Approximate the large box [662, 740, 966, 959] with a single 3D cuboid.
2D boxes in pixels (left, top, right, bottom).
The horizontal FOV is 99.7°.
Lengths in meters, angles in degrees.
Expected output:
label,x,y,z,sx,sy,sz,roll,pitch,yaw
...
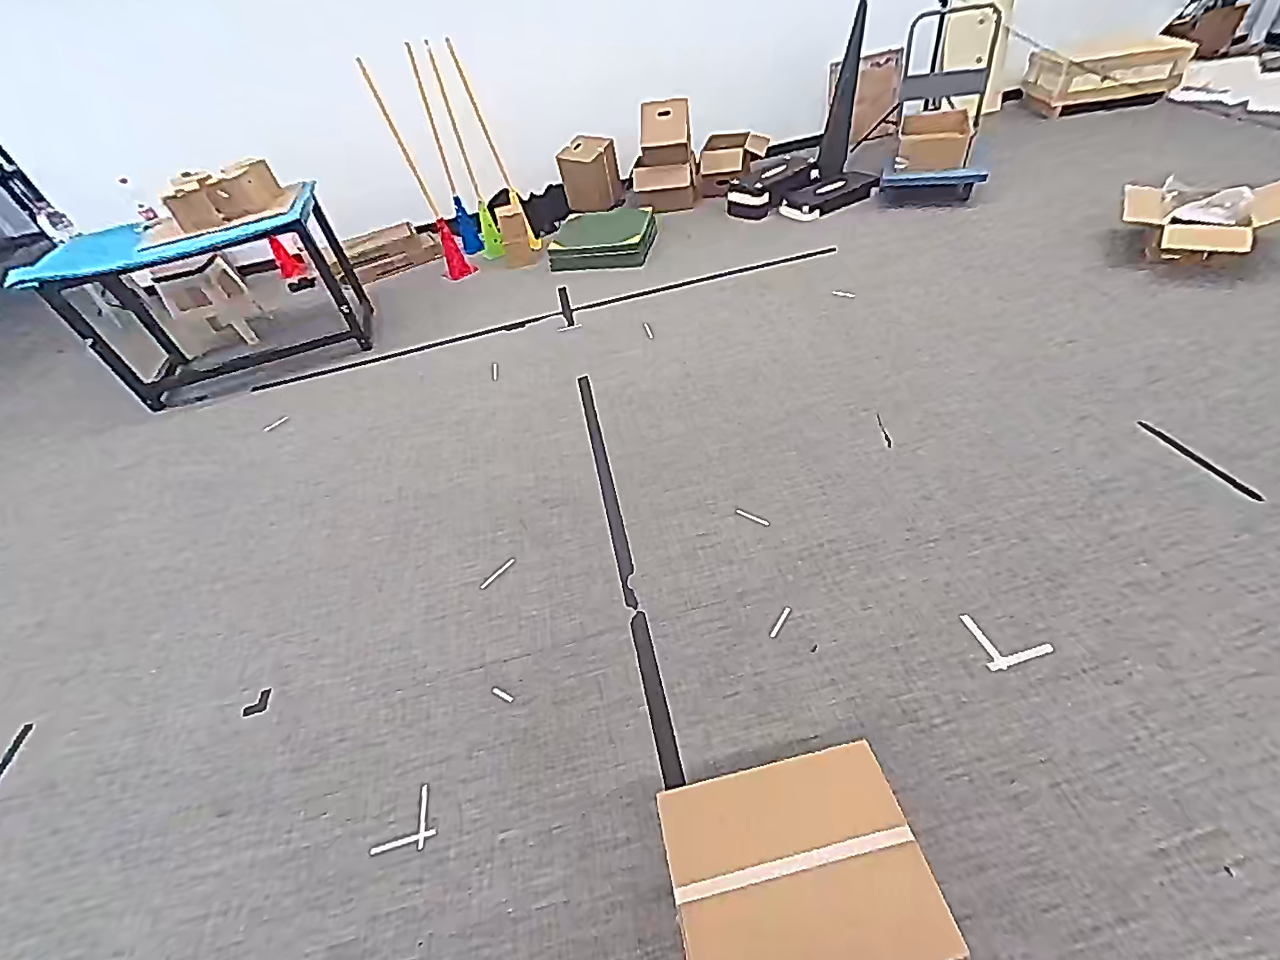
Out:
label,x,y,z,sx,sy,sz,roll,pitch,yaw
large box,0.280,0.738,0.989,0.408,0.320,0.320,-14,44,-2
